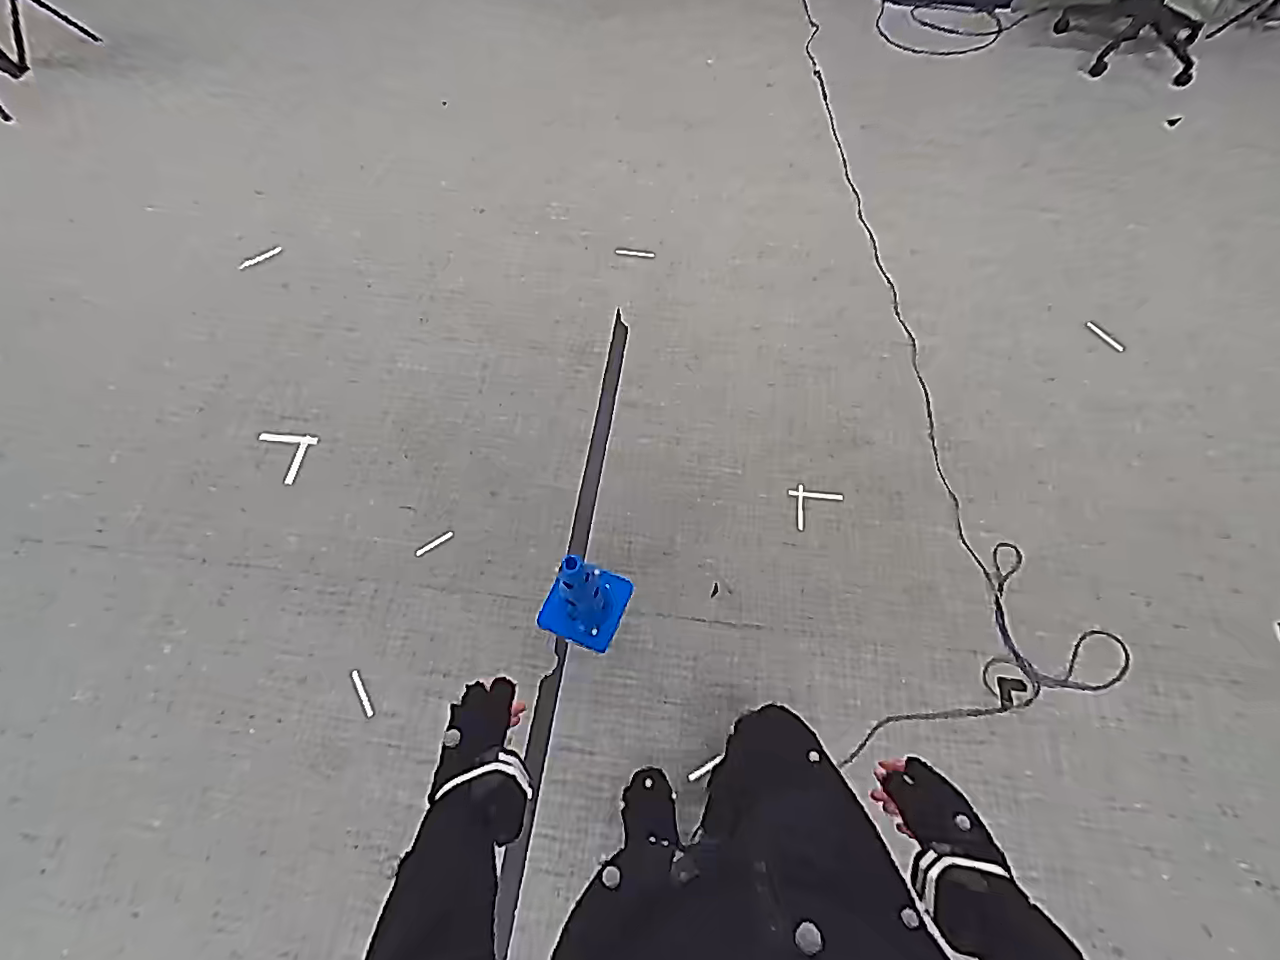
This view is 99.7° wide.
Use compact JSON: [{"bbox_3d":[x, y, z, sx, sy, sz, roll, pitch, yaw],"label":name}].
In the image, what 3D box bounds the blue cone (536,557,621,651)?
[{"bbox_3d":[-0.157,0.258,1.255,0.192,0.380,0.193,21,66,11],"label":"blue cone"}]
